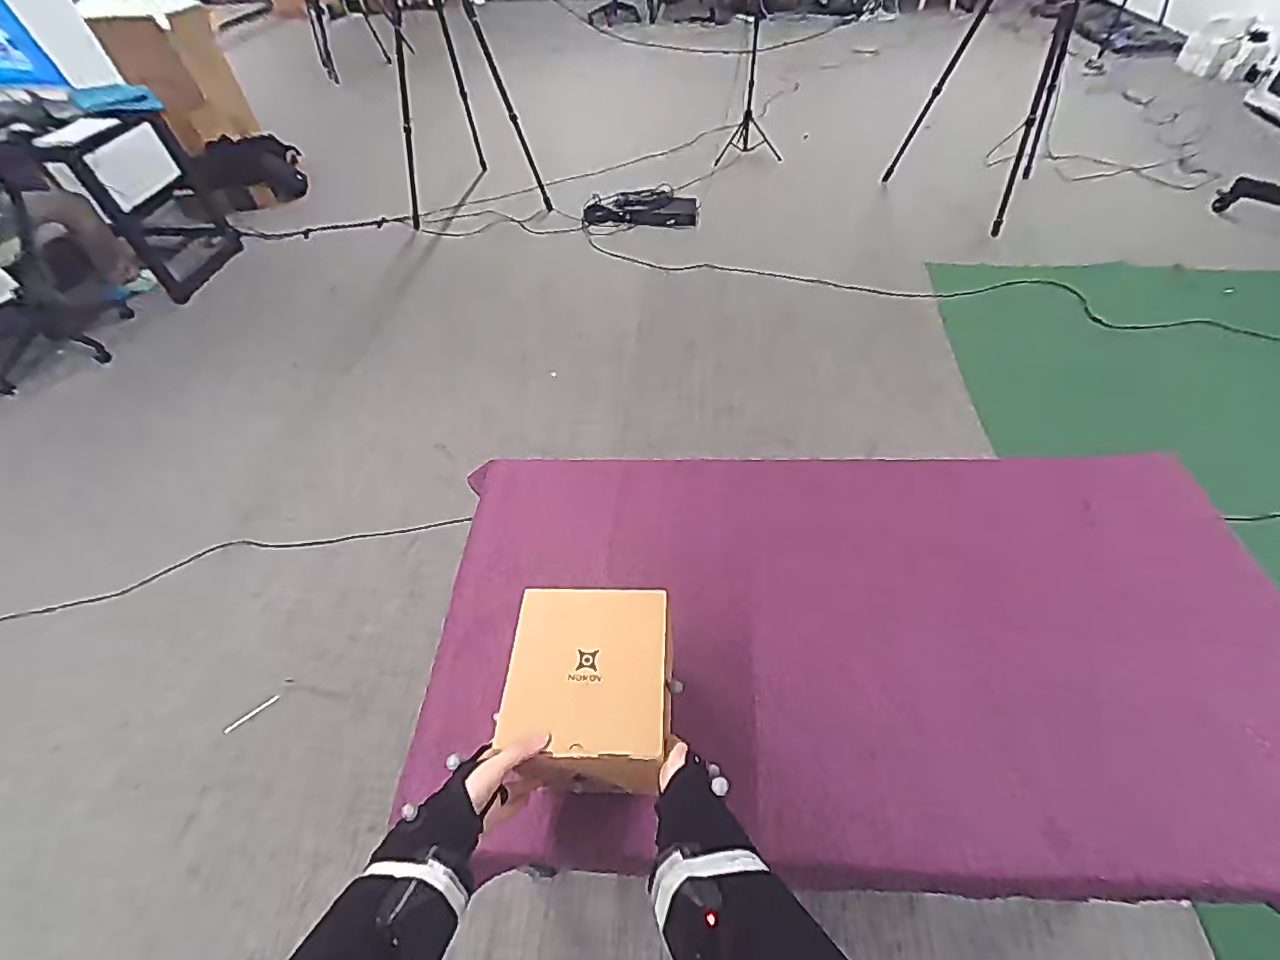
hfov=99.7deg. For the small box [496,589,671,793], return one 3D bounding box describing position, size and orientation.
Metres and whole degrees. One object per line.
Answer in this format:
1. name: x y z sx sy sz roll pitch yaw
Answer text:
1. small box: -0.050 0.245 0.625 0.168 0.176 0.179 0 51 4
